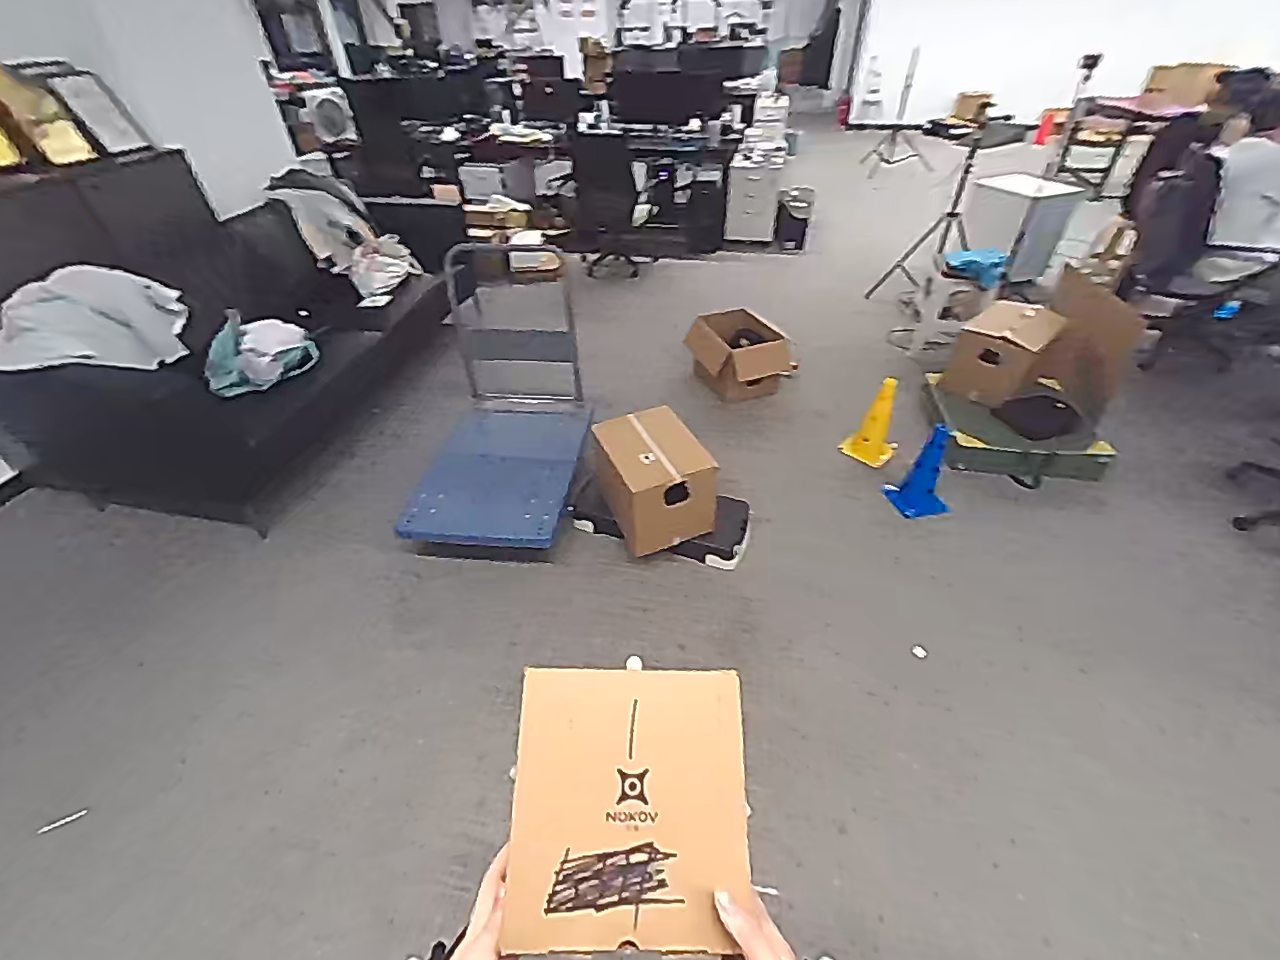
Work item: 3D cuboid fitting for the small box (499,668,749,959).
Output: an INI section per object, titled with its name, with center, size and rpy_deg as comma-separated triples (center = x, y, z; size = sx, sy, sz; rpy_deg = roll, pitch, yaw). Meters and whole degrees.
[small box]
center = -0.011, 0.255, 0.453
size = 0.168, 0.176, 0.179
rpy_deg = 3, 68, -3
